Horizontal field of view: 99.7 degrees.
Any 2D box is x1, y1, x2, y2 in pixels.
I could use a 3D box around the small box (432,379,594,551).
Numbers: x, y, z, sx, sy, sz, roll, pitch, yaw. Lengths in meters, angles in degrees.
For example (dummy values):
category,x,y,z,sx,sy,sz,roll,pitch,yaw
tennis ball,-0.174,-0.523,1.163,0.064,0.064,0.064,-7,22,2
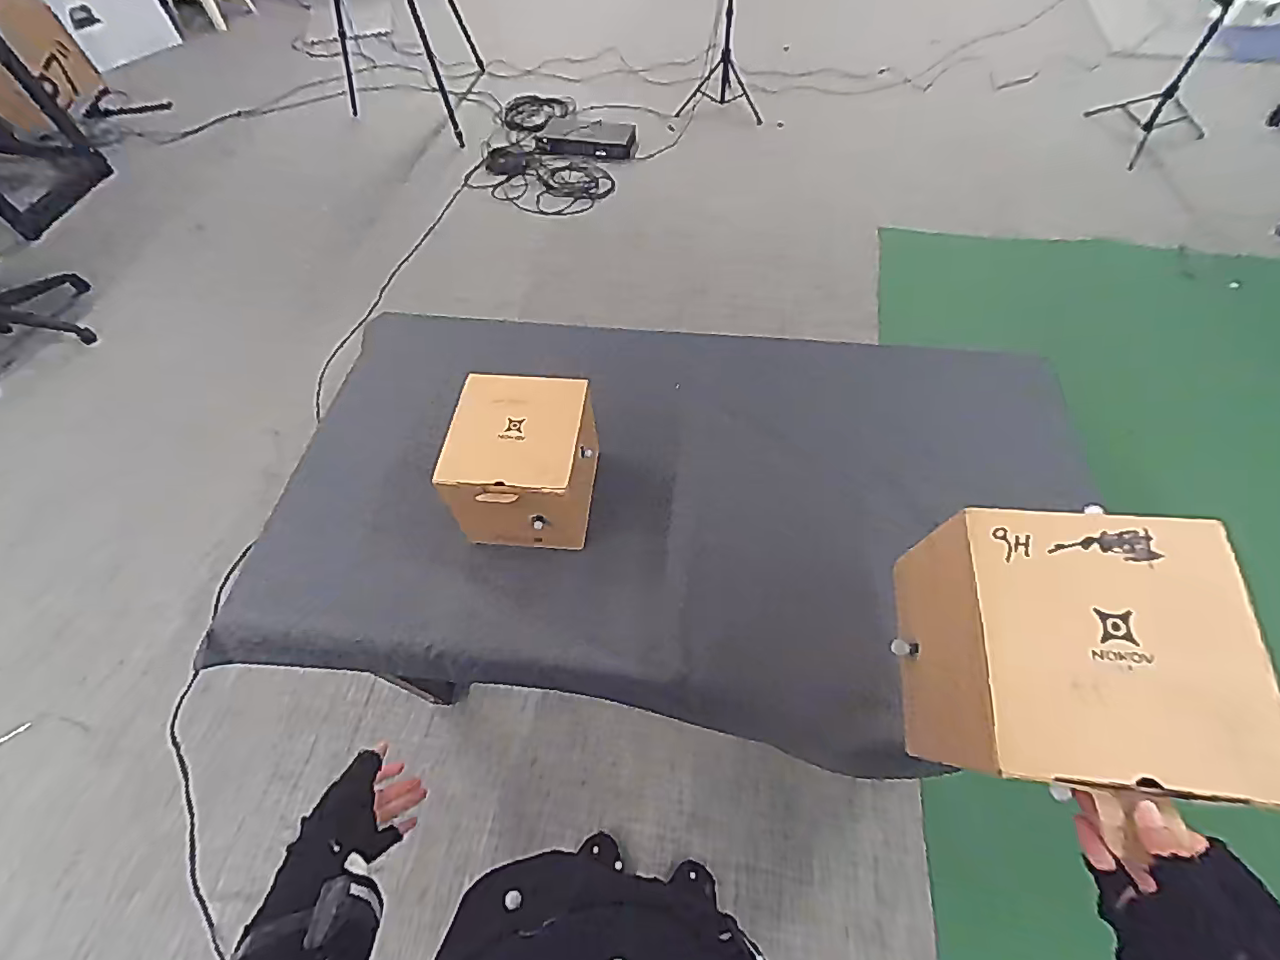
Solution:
category,x,y,z,sx,sy,sz,roll,pitch,yaw
small box,-0.158,-0.016,0.745,0.168,0.176,0.179,4,57,3
